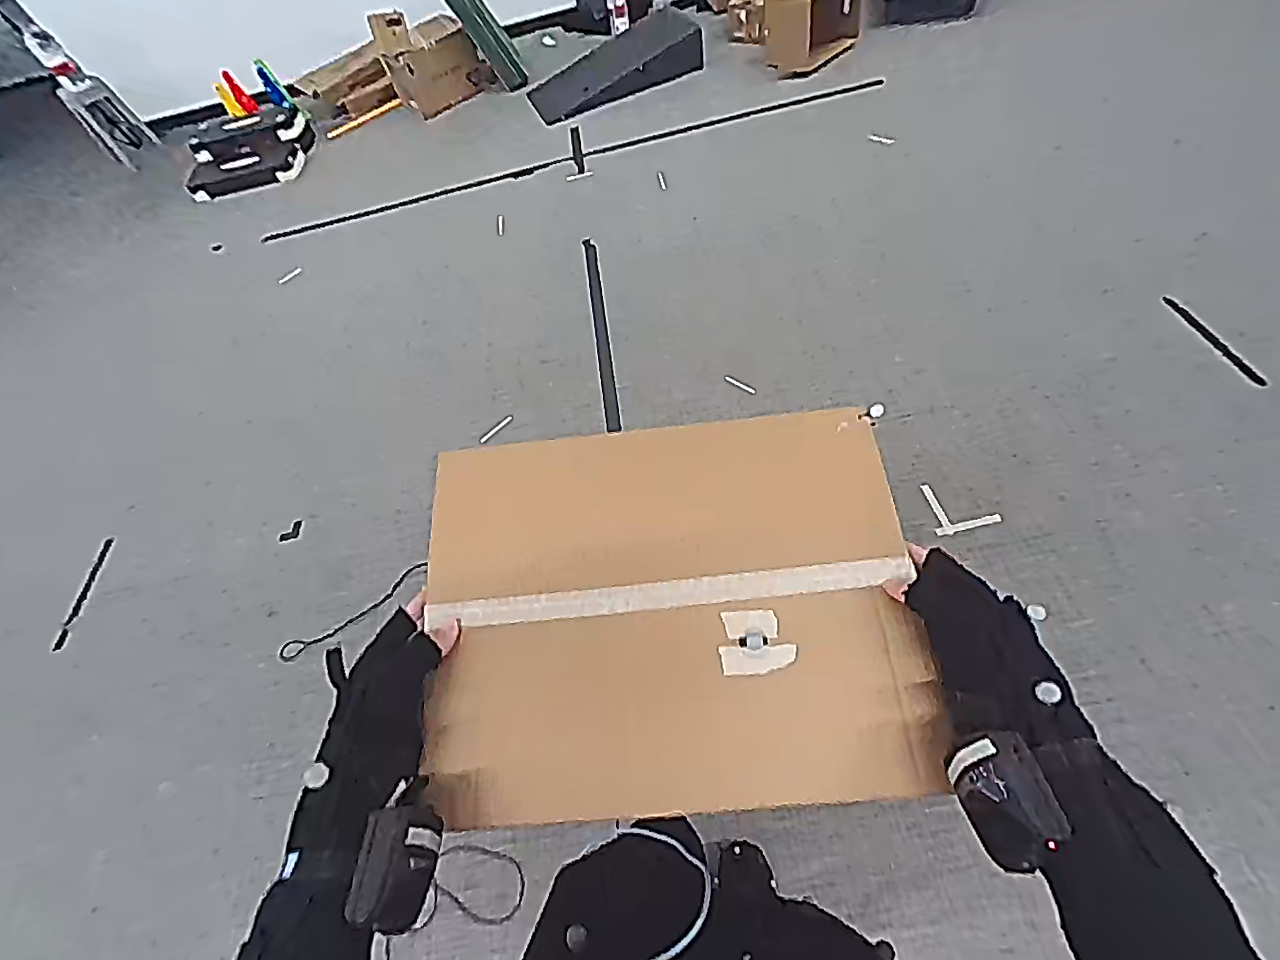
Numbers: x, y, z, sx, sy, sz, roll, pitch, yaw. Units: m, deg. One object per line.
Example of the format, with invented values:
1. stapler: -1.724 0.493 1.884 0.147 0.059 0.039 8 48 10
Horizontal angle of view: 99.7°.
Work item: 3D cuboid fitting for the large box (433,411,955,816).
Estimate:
1. large box: 0.034 0.154 0.599 0.408 0.320 0.320 -6 66 2
